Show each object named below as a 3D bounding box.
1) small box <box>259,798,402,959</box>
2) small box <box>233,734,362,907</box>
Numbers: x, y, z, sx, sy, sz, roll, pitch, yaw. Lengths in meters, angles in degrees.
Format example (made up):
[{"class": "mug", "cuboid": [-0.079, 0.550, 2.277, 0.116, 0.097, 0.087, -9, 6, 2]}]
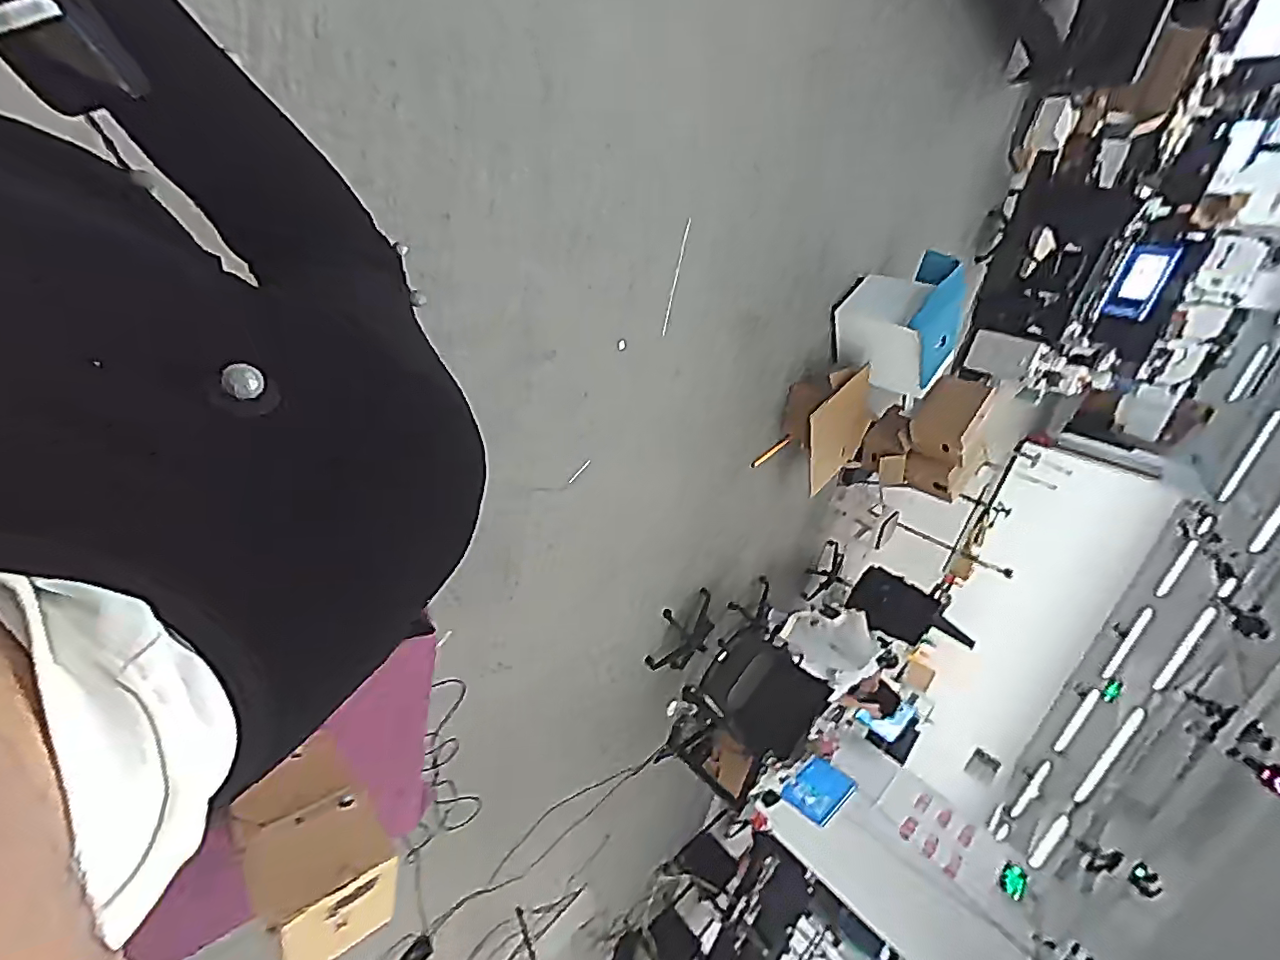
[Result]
[{"class": "small box", "cuboid": [-0.521, 0.676, 0.907, 0.168, 0.176, 0.179, -10, 122, -46]}, {"class": "small box", "cuboid": [-0.638, 0.620, 1.007, 0.168, 0.176, 0.179, -10, 120, -46]}]
